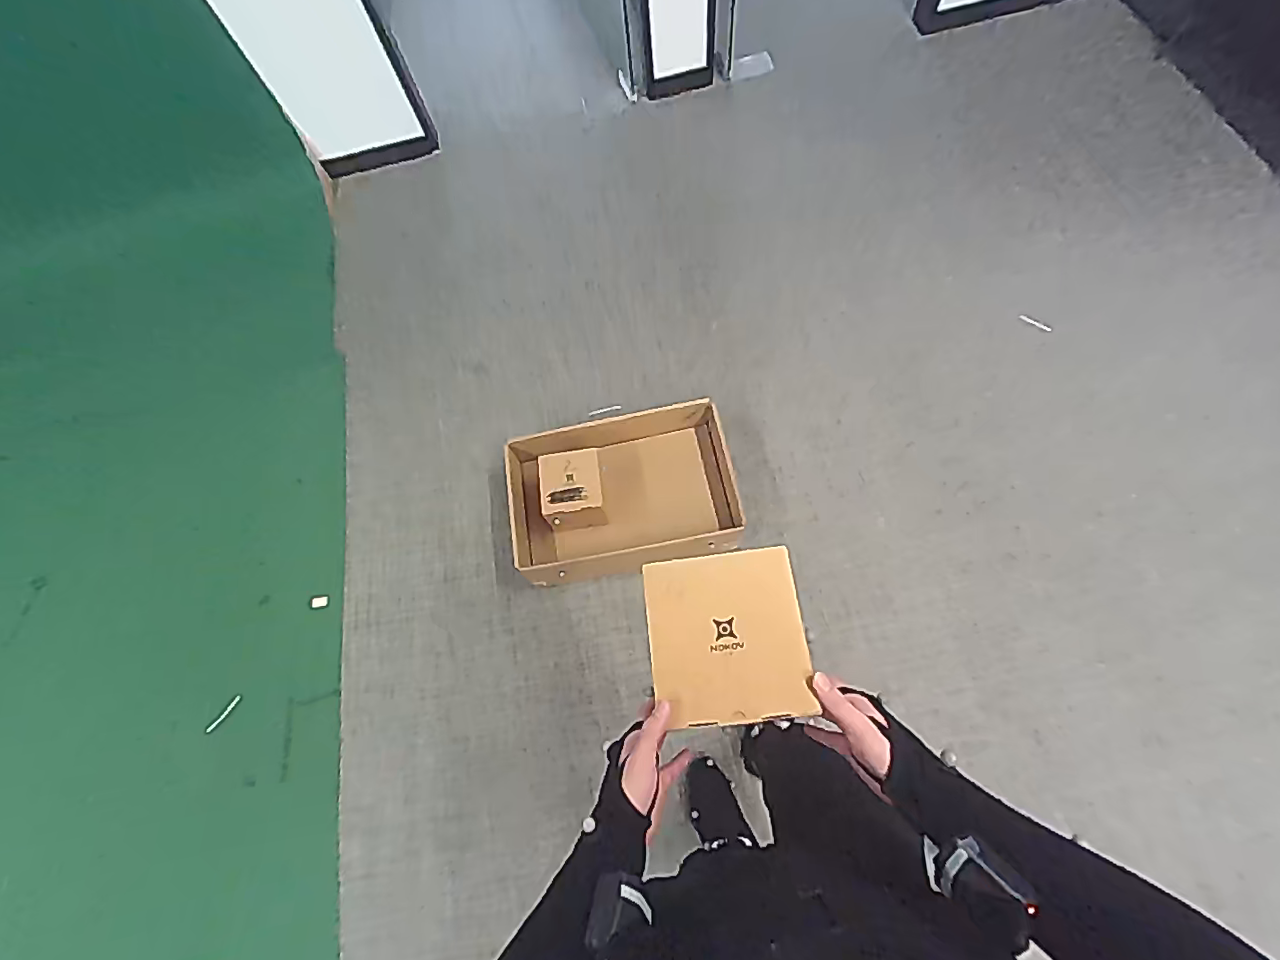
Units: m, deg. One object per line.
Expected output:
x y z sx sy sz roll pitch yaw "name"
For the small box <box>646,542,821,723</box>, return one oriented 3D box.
0.103 0.190 0.649 0.168 0.176 0.179 -9 67 5 "small box"
